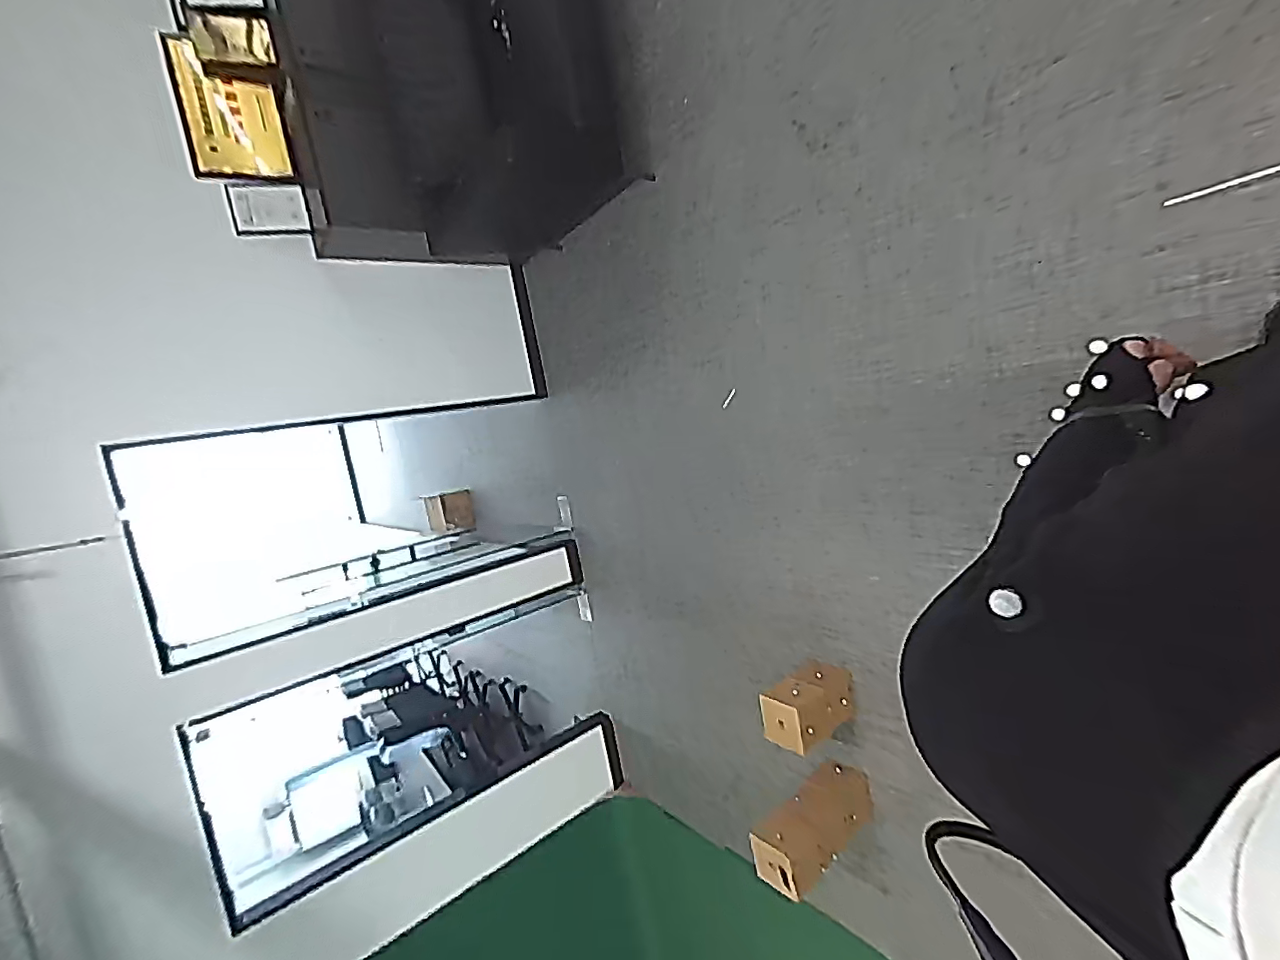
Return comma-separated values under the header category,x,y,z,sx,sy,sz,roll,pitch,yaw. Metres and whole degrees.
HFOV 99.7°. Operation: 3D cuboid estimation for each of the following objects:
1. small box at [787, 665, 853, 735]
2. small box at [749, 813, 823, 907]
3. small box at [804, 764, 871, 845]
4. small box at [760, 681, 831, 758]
category,x,y,z,sx,sy,sz,roll,pitch,yaw
small box,0.679,0.814,2.024,0.179,0.176,0.168,-1,99,52
small box,0.505,1.285,1.847,0.179,0.176,0.168,-6,96,54
small box,0.754,1.224,2.052,0.168,0.176,0.179,-4,97,53
small box,0.556,0.841,1.921,0.168,0.176,0.179,-3,99,53
